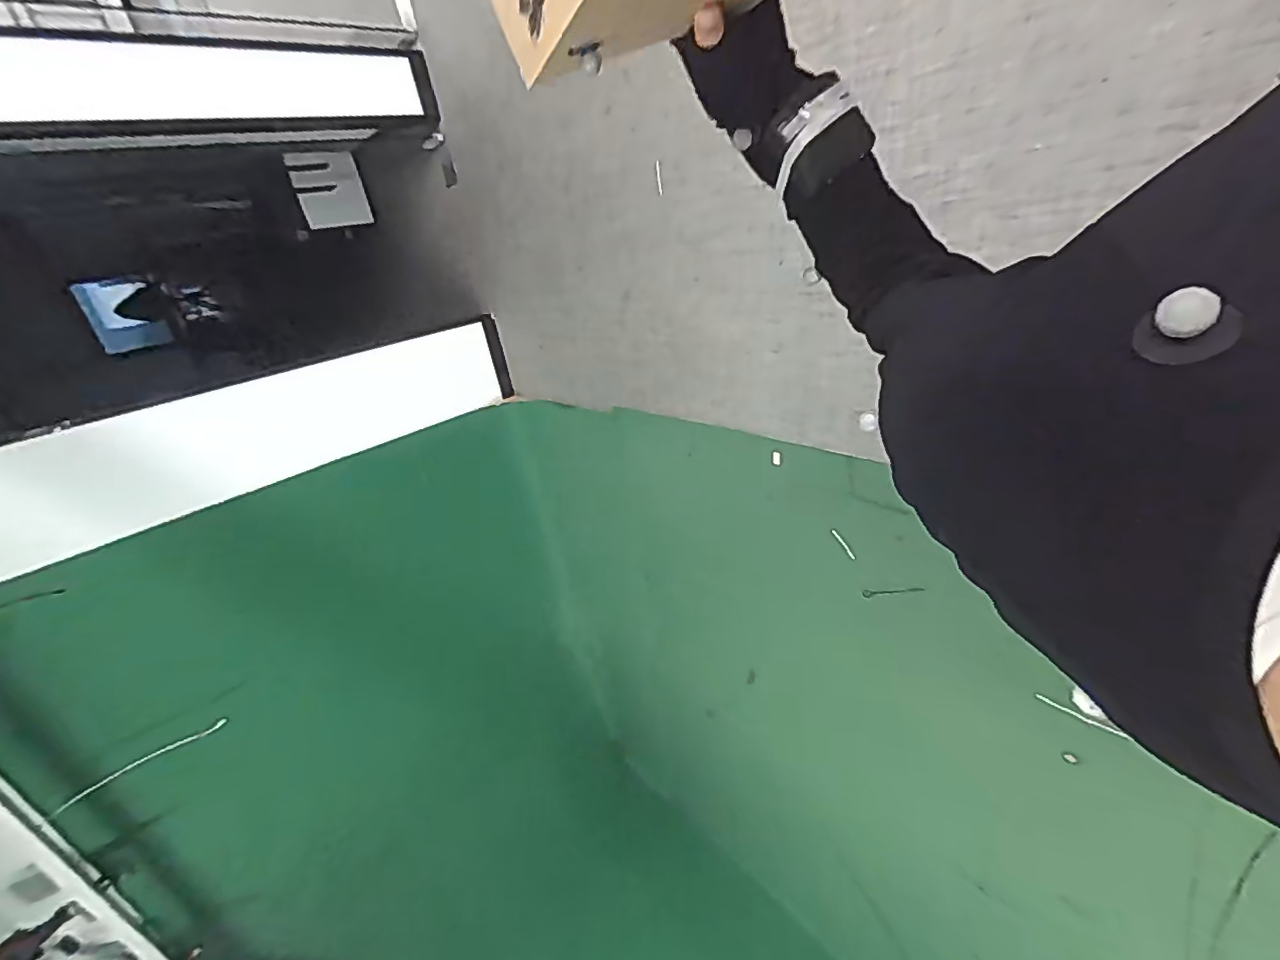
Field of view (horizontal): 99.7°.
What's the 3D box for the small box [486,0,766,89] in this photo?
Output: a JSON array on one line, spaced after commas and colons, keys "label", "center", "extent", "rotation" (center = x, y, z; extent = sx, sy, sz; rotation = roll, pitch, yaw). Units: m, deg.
[{"label": "small box", "center": [-0.001, -0.336, 0.263], "extent": [0.168, 0.176, 0.179], "rotation": [41, 156, 61]}]
